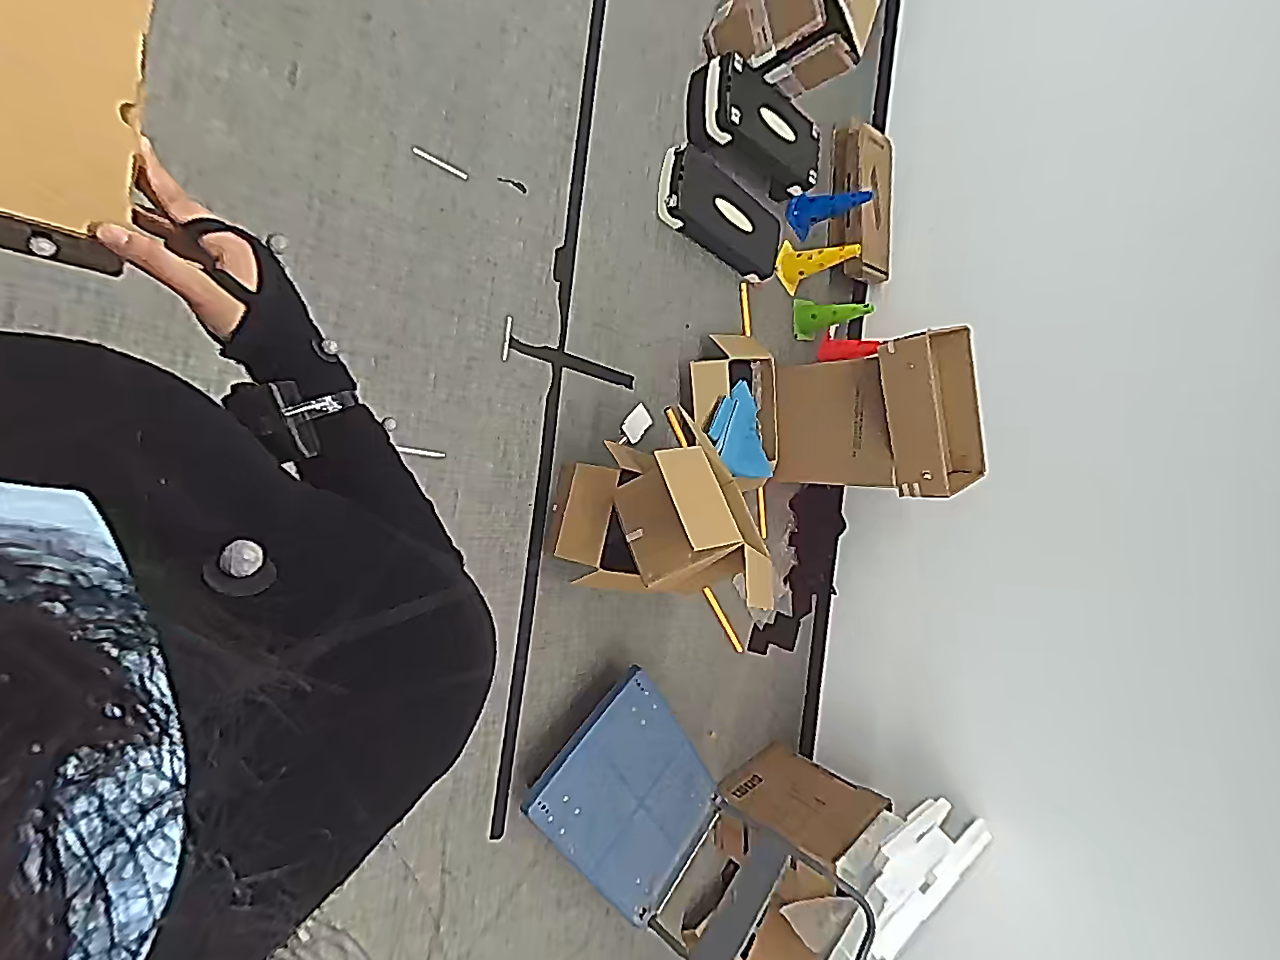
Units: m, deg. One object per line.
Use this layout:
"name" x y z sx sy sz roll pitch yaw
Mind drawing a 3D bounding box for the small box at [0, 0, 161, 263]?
"small box" -0.435 -0.253 0.342 0.179 0.176 0.168 5 94 -47
